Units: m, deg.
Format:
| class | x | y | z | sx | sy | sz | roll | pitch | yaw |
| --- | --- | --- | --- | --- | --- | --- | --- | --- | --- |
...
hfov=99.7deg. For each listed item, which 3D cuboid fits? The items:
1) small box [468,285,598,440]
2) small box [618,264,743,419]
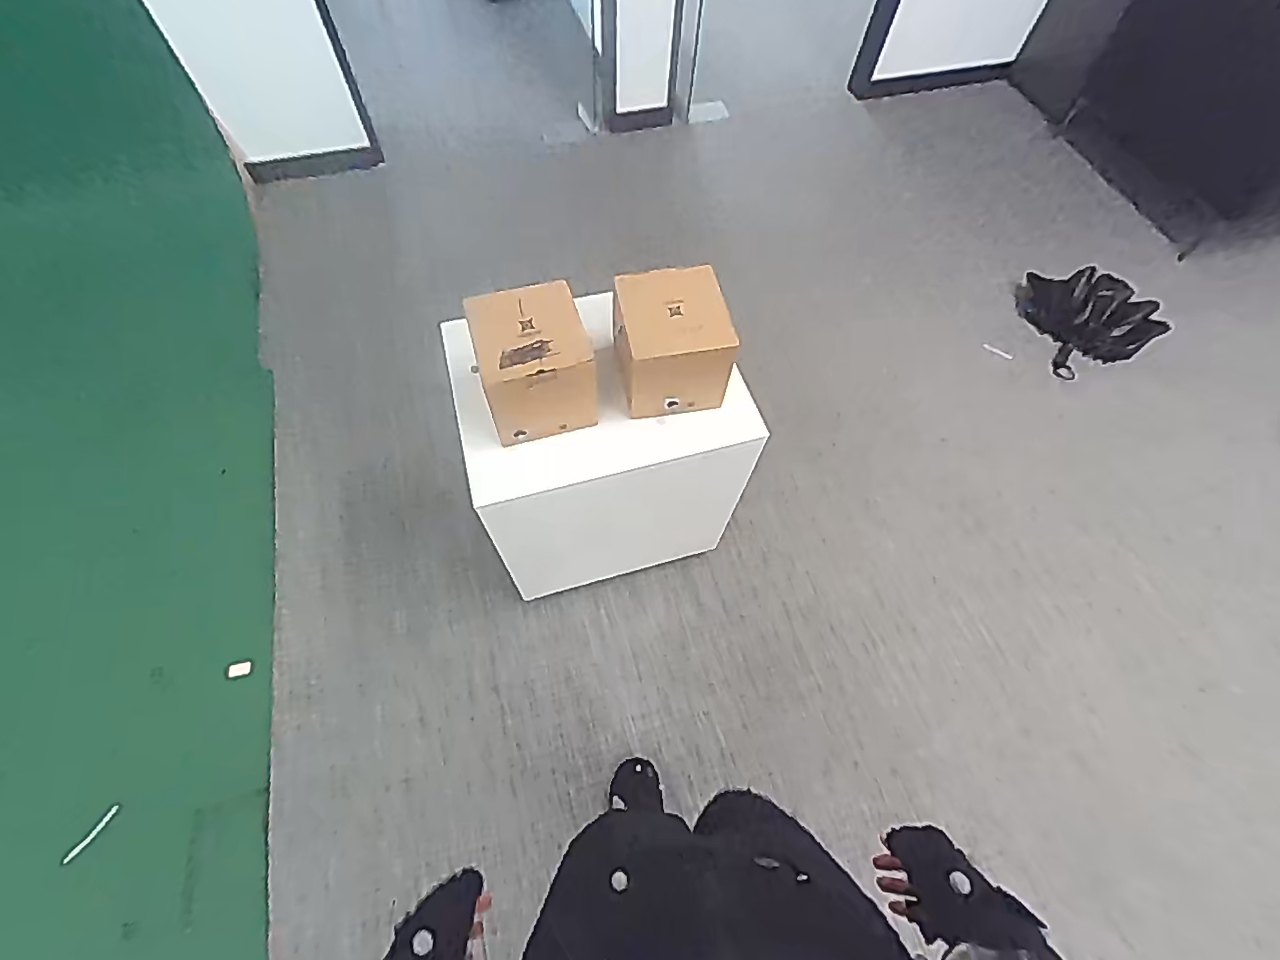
| class | x | y | z | sx | sy | sz | roll | pitch | yaw |
| --- | --- | --- | --- | --- | --- | --- | --- | --- | --- |
| small box | -0.168 | -0.183 | 0.887 | 0.168 | 0.176 | 0.179 | -14 | 63 | -11 |
| small box | 0.056 | -0.227 | 0.906 | 0.168 | 0.176 | 0.179 | -10 | 65 | -6 |
